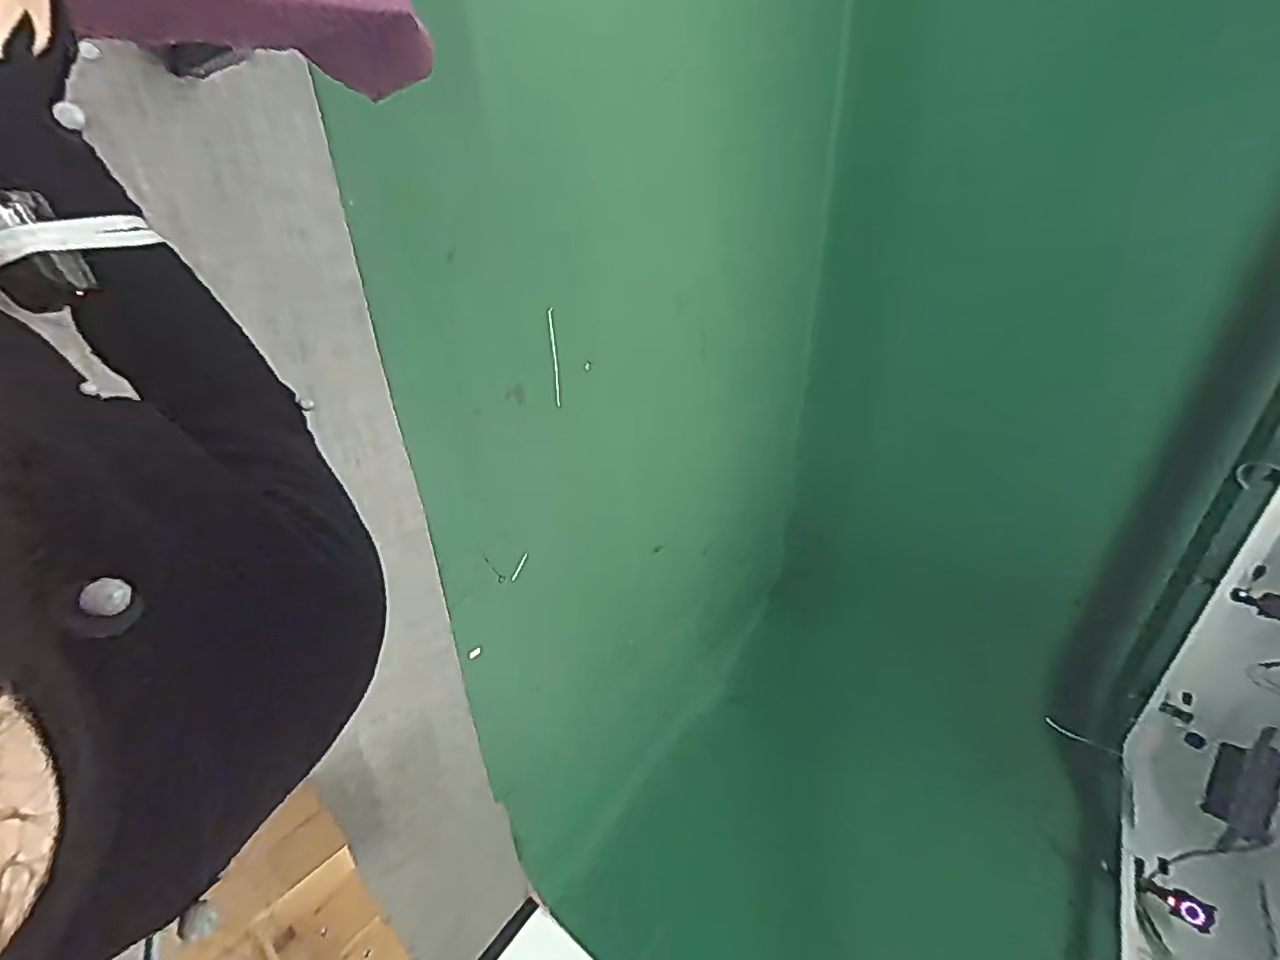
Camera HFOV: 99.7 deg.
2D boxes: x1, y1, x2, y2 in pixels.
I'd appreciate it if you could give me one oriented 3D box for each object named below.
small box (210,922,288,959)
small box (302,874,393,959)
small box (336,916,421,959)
[{"bbox_3d":[-0.936,1.226,1.295,0.168,0.176,0.179,-26,129,-46],"label":"small box"},{"bbox_3d":[-0.805,1.249,1.500,0.168,0.176,0.179,-29,130,-45],"label":"small box"},{"bbox_3d":[-0.679,1.302,1.408,0.168,0.176,0.179,-29,128,-45],"label":"small box"}]
